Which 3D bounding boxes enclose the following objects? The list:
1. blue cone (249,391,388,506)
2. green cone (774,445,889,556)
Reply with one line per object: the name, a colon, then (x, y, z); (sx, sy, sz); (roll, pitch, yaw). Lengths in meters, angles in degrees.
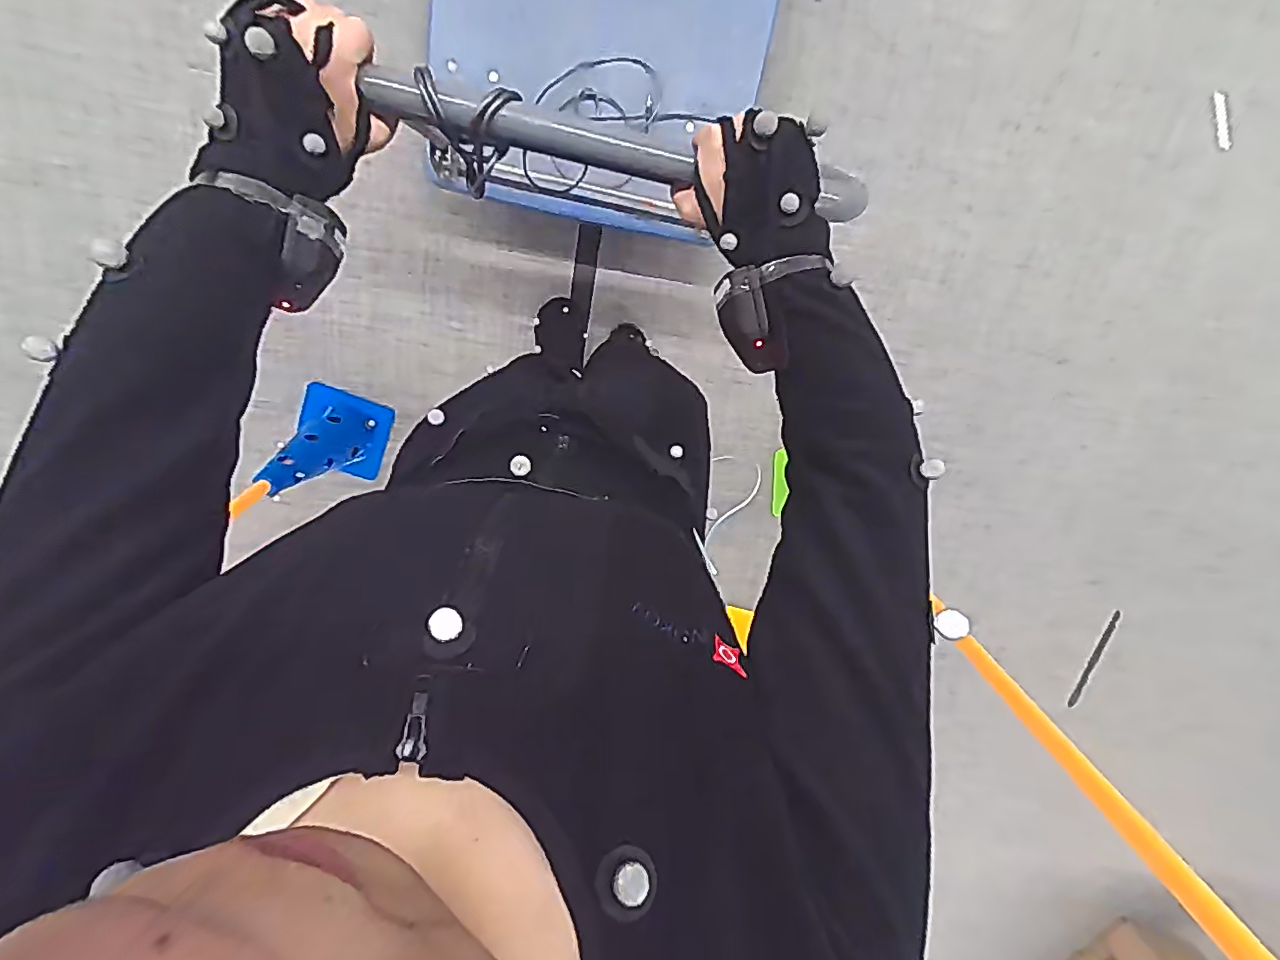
blue cone: (-0.692, -0.045, 1.129); (0.193, 0.380, 0.192); (22, 107, -14)
green cone: (0.474, 0.071, 1.282); (0.200, 0.368, 0.202); (-5, 112, -4)
